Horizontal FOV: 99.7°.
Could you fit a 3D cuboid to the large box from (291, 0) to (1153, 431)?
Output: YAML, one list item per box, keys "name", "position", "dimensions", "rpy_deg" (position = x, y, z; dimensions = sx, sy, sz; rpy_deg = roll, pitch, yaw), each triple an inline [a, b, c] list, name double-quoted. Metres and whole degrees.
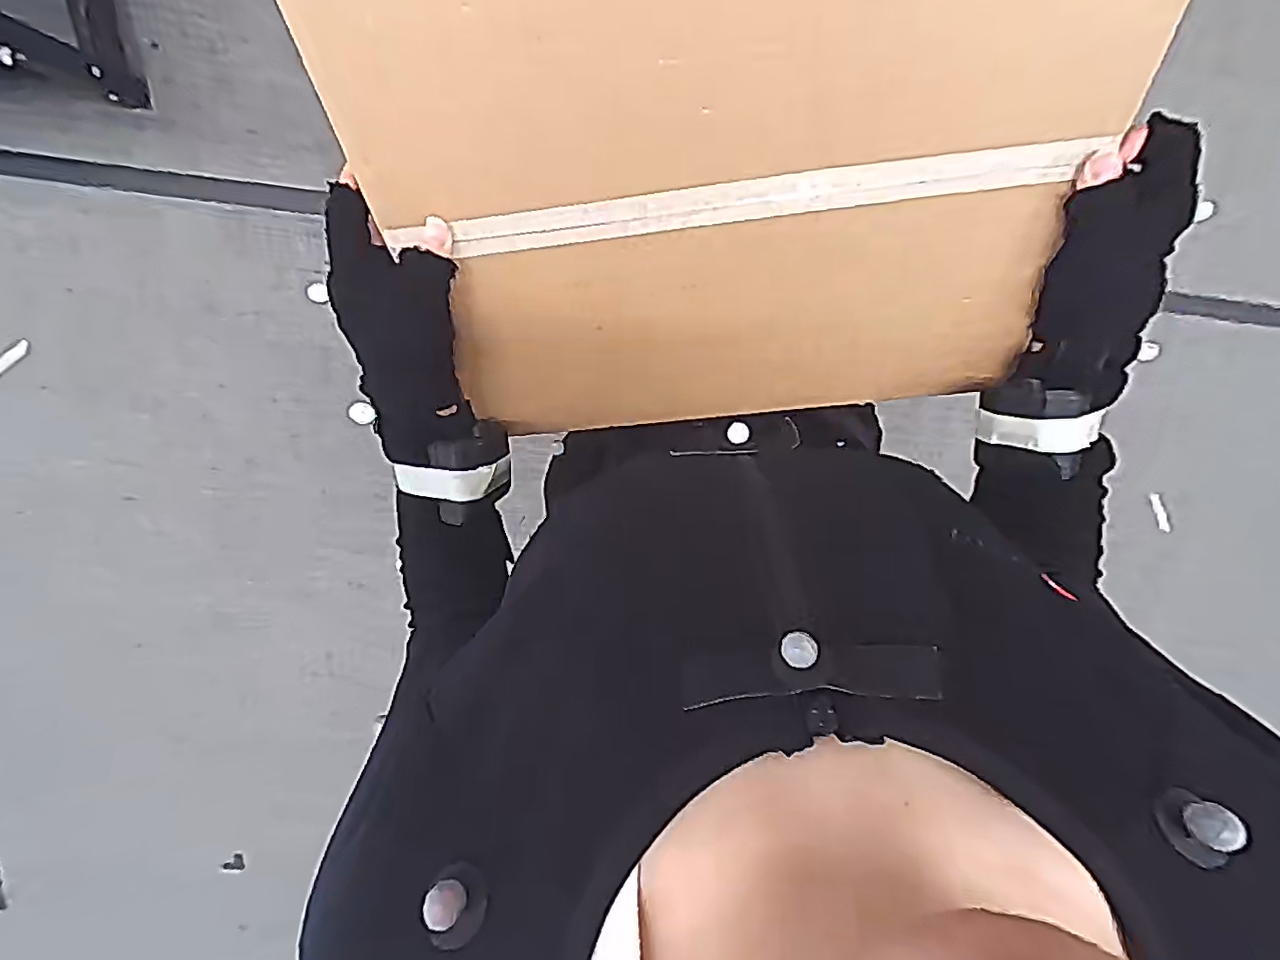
- name: "large box"
  position: [0.046, -0.271, 0.417]
  dimensions: [0.408, 0.320, 0.320]
  rpy_deg: [-5, 138, 4]
